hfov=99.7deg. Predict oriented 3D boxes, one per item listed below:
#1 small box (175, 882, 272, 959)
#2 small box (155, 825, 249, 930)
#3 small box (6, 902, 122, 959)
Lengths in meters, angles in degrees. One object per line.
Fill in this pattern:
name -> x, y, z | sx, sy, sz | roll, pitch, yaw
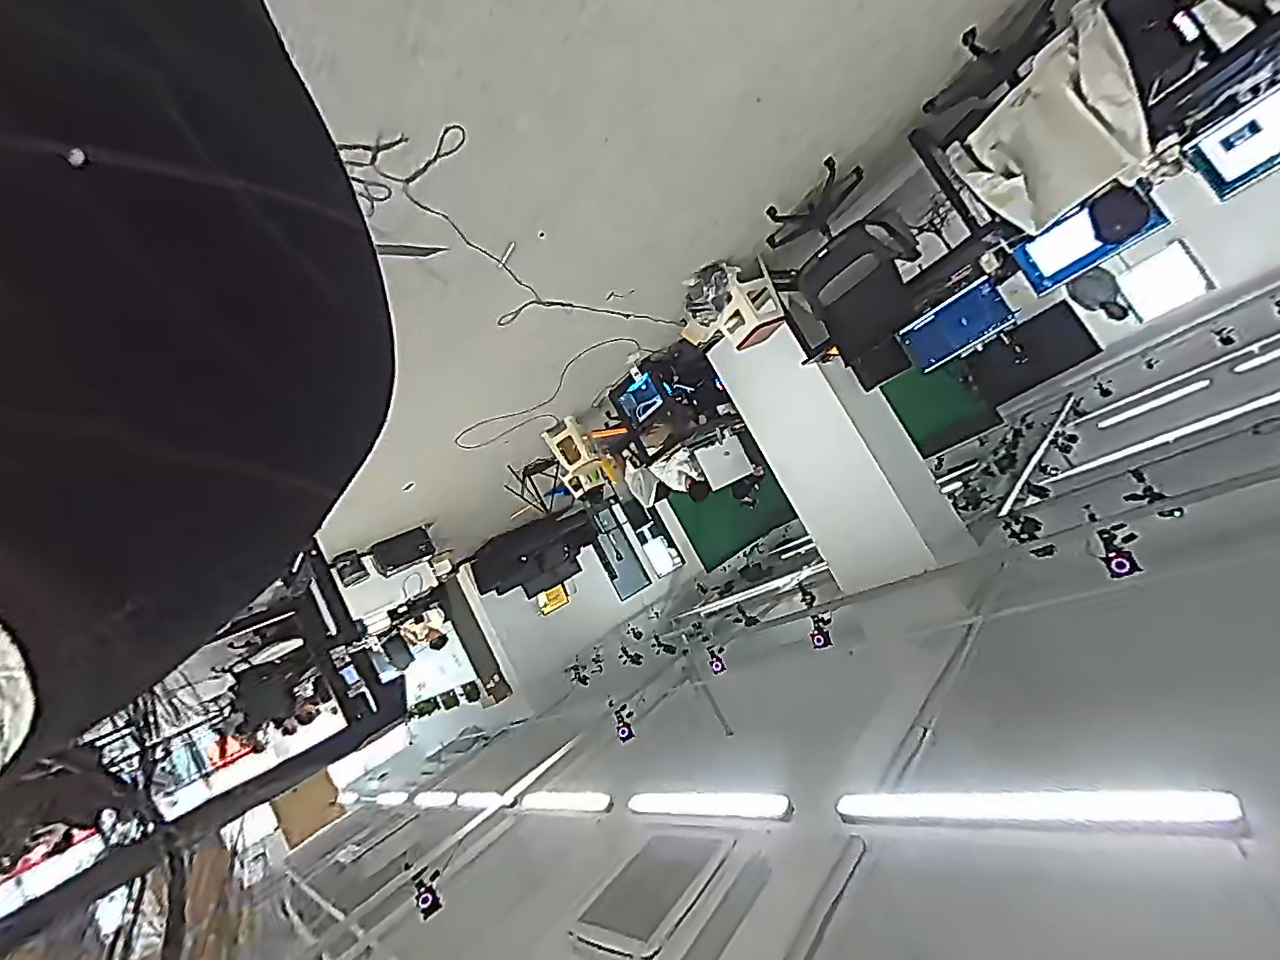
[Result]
small box -> -1.169, 1.259, 1.515 | 0.168, 0.176, 0.179 | -23, 172, -46
small box -> -1.242, 1.115, 1.531 | 0.168, 0.176, 0.179 | -22, 173, -45
small box -> -1.422, 1.188, 1.337 | 0.168, 0.176, 0.179 | -24, 172, -47
